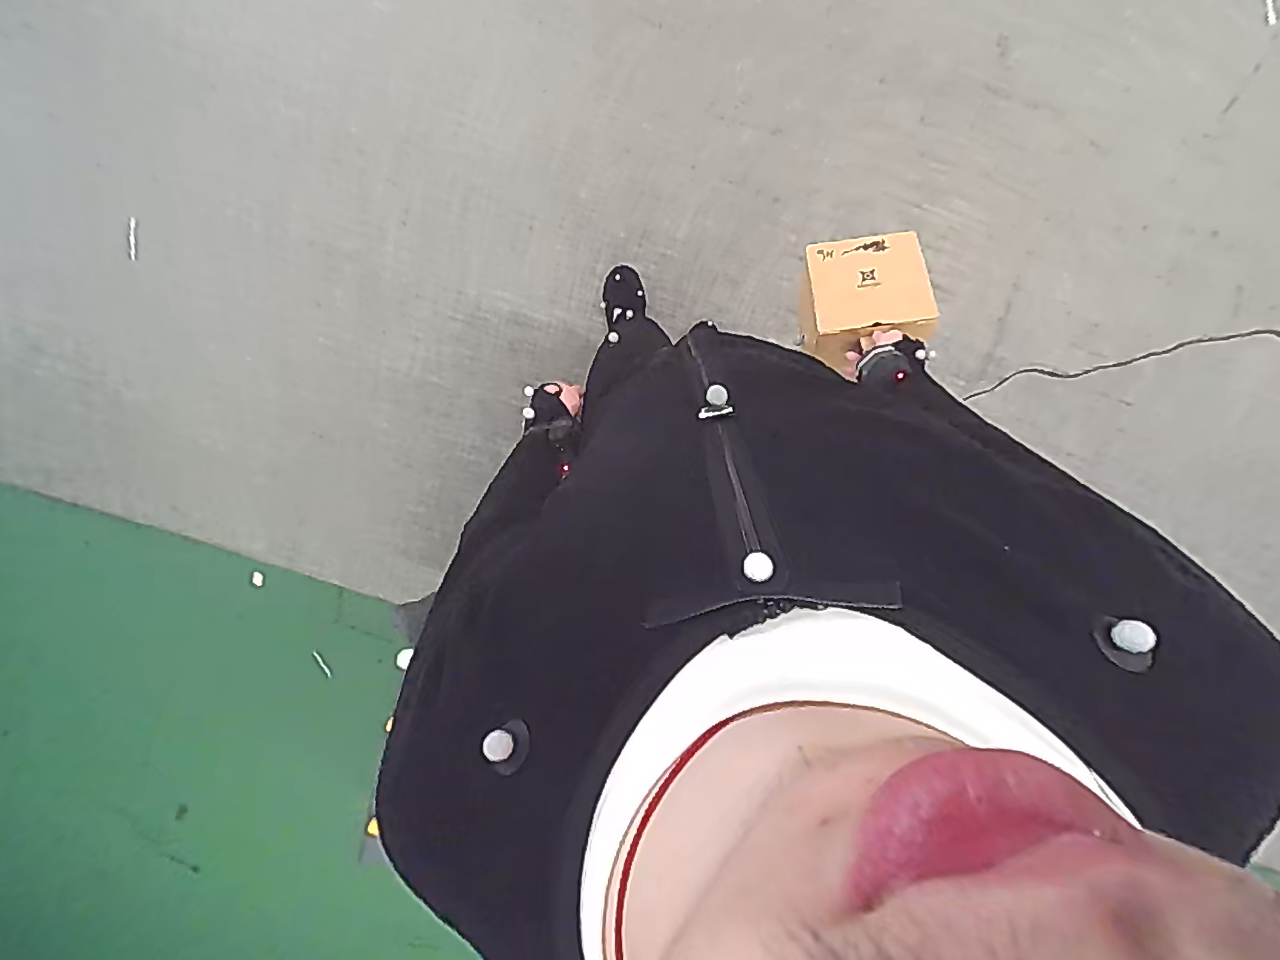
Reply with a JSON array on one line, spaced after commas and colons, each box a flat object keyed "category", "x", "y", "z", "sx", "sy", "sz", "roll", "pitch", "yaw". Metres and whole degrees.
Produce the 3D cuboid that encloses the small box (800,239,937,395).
[{"category": "small box", "x": 0.359, "y": -0.253, "z": 0.883, "sx": 0.168, "sy": 0.176, "sz": 0.179, "roll": -7, "pitch": 65, "yaw": 11}]
